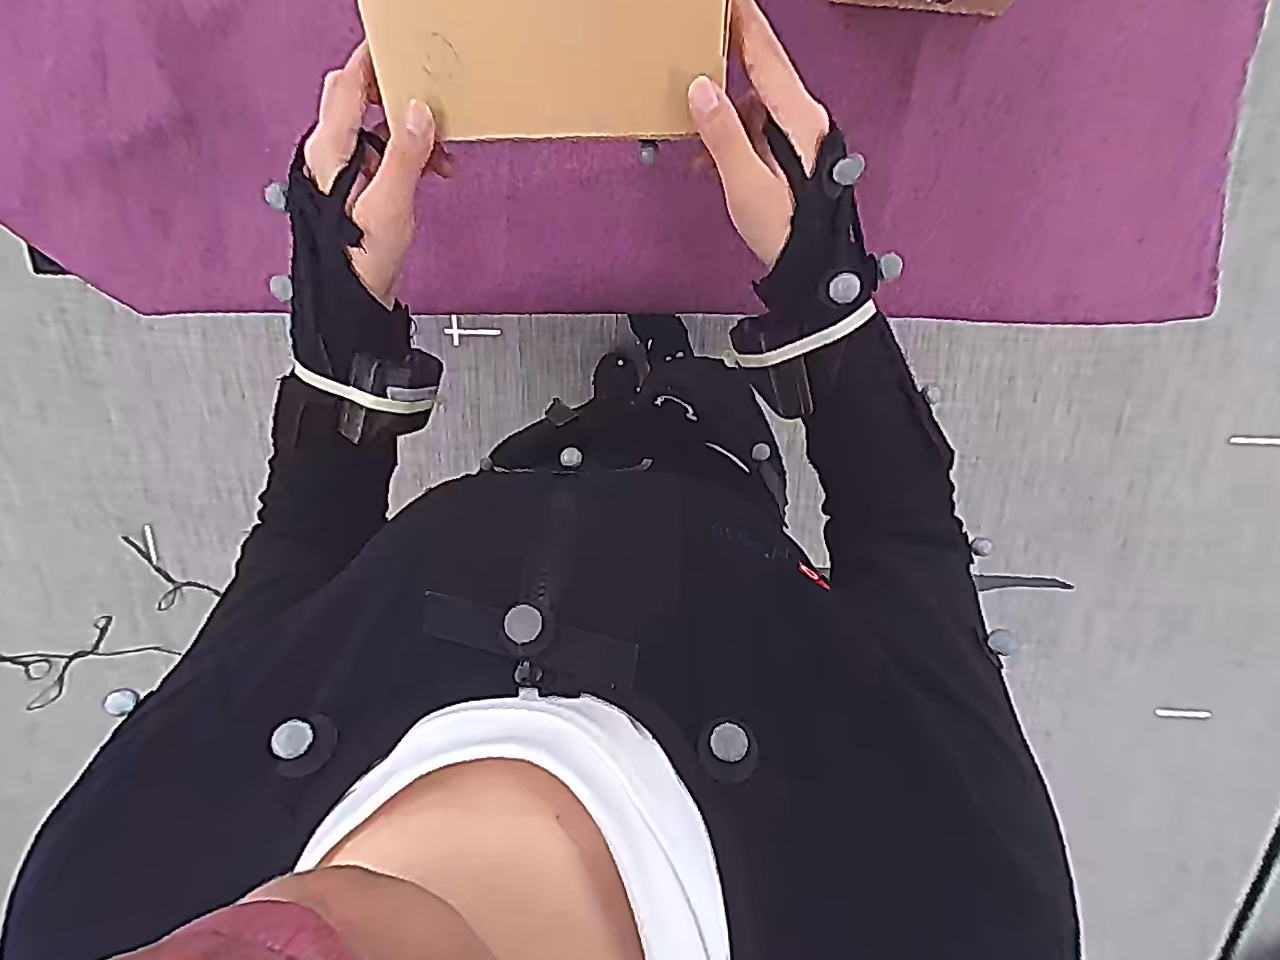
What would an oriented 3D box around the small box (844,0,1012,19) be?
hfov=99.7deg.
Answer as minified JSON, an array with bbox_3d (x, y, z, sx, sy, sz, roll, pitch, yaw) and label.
[{"bbox_3d":[0.261,-0.498,0.403,0.168,0.176,0.179,5,107,0],"label":"small box"}]

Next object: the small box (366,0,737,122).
[{"bbox_3d":[-0.039,-0.295,0.294,0.179,0.176,0.168,0,125,3],"label":"small box"}]
